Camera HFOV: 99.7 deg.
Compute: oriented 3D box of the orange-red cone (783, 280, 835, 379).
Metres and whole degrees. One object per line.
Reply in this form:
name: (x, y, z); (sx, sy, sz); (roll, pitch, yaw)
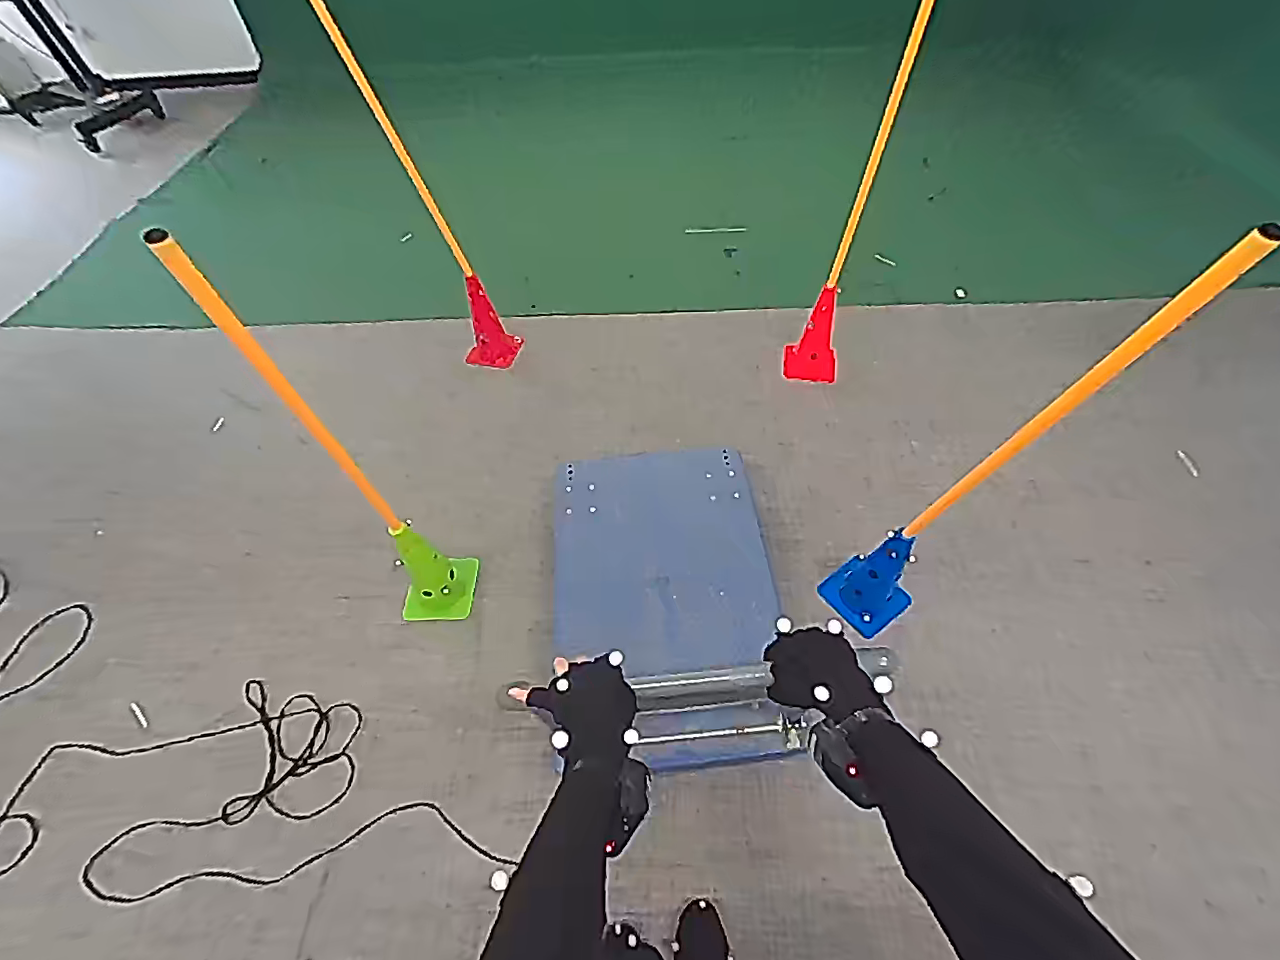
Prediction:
orange-red cone: (0.662, -0.573, 2.005); (0.198, 0.360, 0.199); (8, 56, 9)
